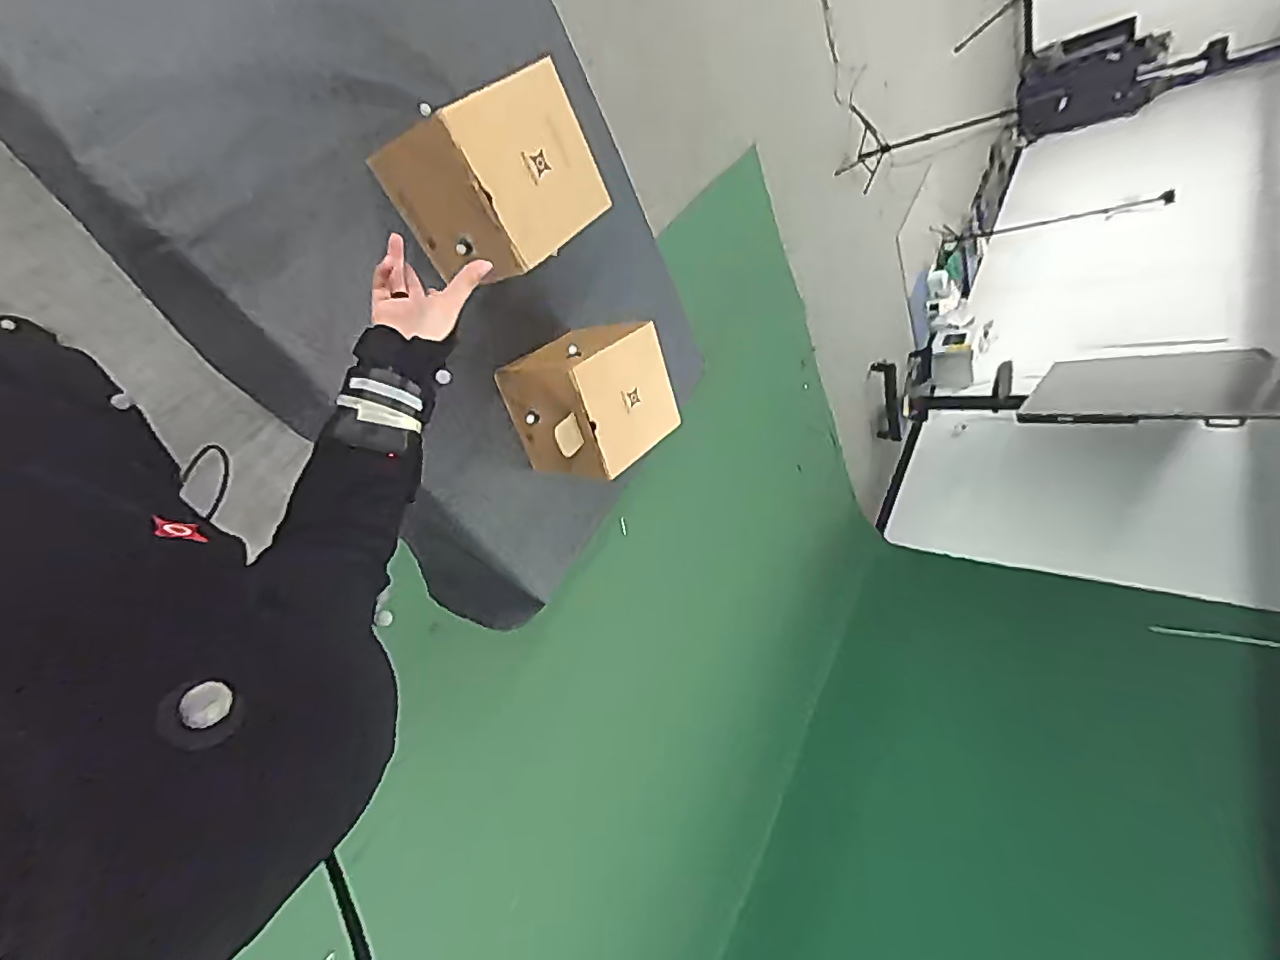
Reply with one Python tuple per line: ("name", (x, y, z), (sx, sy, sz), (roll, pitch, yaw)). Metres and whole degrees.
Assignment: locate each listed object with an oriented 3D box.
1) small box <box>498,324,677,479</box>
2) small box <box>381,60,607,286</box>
("small box", (-0.076, -0.121, 0.805), (0.179, 0.176, 0.168), (-42, 125, -37))
("small box", (-0.178, -0.355, 0.650), (0.179, 0.176, 0.168), (-55, 134, -30))
